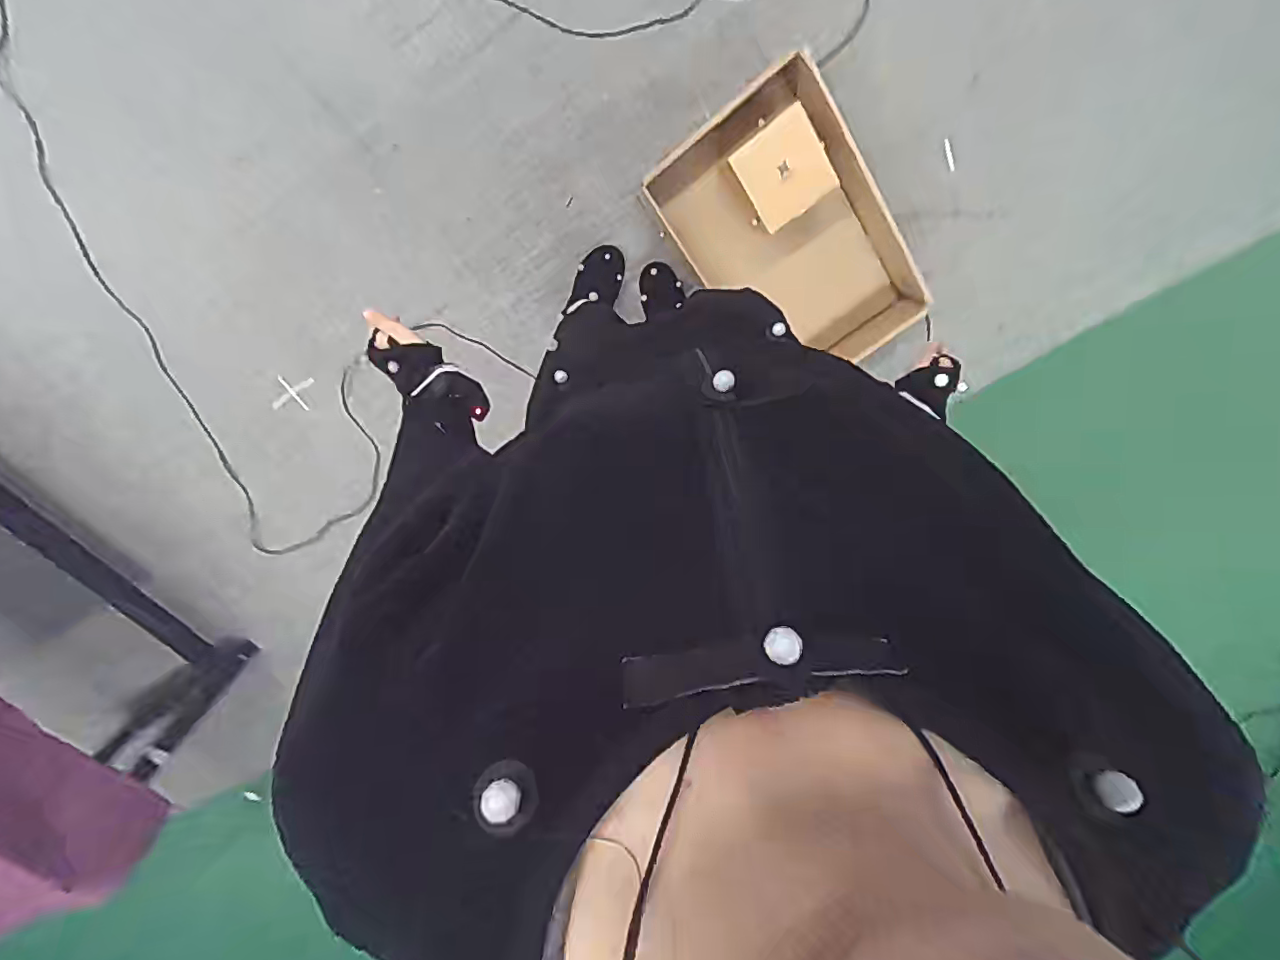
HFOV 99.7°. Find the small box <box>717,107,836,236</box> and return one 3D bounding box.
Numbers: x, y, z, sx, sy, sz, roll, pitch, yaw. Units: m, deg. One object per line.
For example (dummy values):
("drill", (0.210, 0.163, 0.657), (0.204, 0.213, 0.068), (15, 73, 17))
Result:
("small box", (0.284, -0.650, 1.161), (0.168, 0.176, 0.179), (-34, 113, 14))
